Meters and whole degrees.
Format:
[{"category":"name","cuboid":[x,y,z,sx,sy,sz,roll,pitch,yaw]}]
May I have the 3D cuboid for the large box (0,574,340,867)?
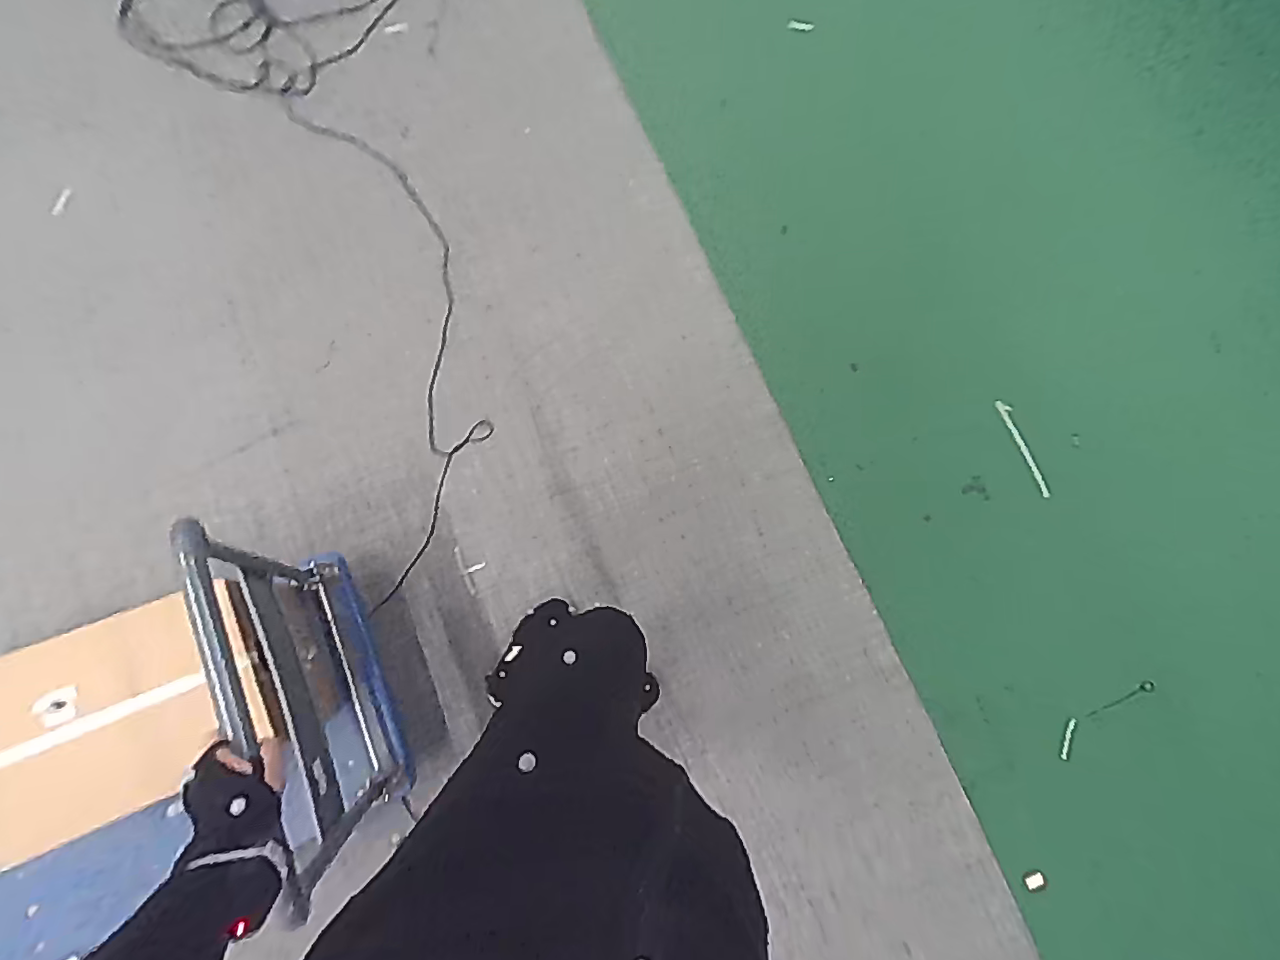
[{"category":"large box","cuboid":[-0.868,0.403,1.021,0.408,0.320,0.320,-21,82,-15]}]
